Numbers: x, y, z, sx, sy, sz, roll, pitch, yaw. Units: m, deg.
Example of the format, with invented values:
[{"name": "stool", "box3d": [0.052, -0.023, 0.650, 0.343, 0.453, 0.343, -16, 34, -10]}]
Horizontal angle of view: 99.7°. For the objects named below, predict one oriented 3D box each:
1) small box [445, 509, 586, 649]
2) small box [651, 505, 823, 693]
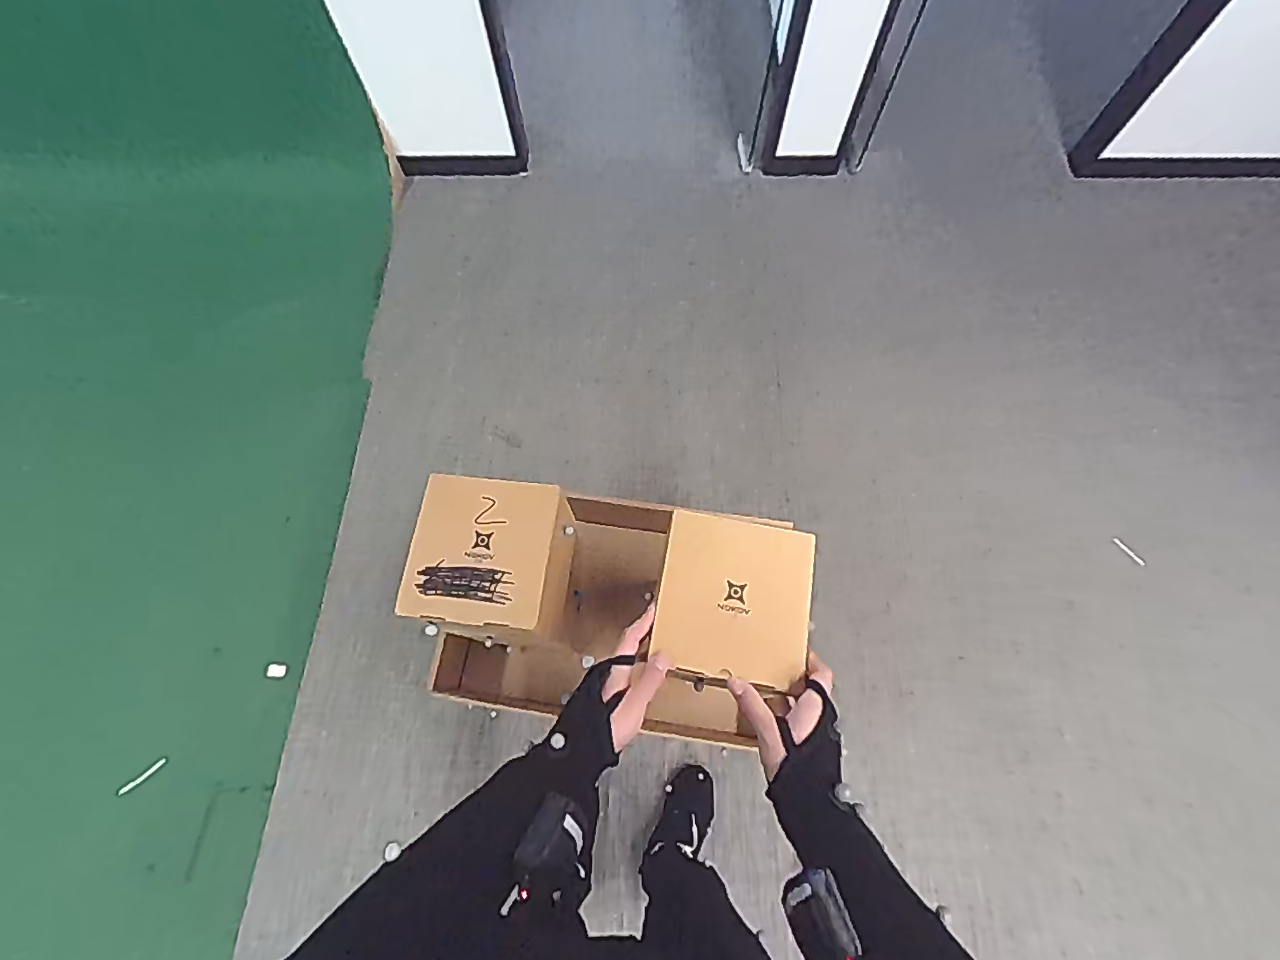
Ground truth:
[{"name": "small box", "box3d": [-0.183, 0.162, 0.855, 0.168, 0.176, 0.179, 5, 68, 4]}, {"name": "small box", "box3d": [0.108, 0.150, 0.655, 0.168, 0.176, 0.179, 11, 70, 2]}]
